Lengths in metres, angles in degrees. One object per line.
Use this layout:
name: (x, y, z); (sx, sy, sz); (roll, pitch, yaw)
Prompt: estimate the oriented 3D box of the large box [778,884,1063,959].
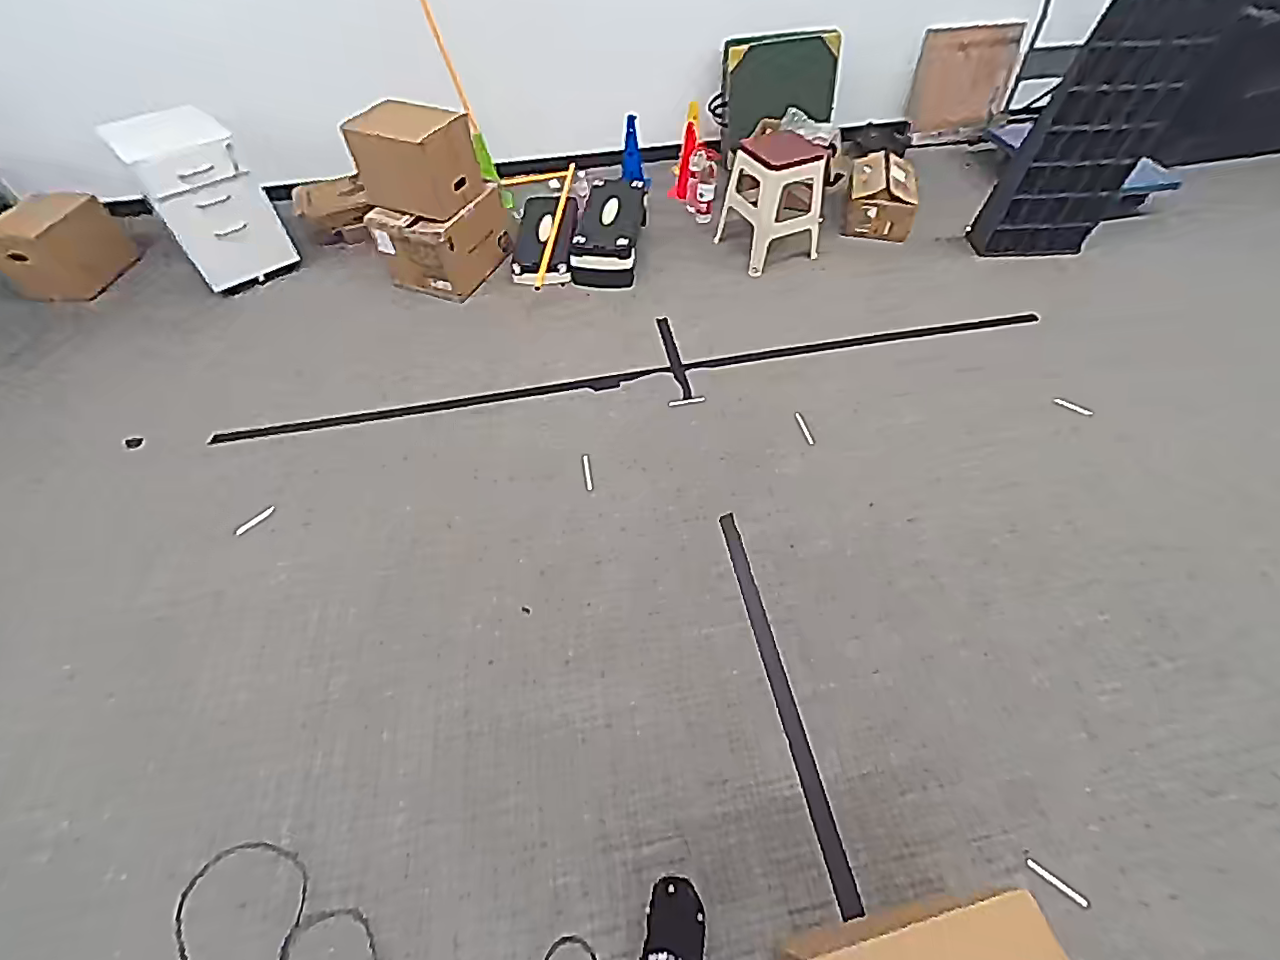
large box: (0.502, 0.938, 0.924); (0.408, 0.320, 0.320); (-12, 53, -7)
